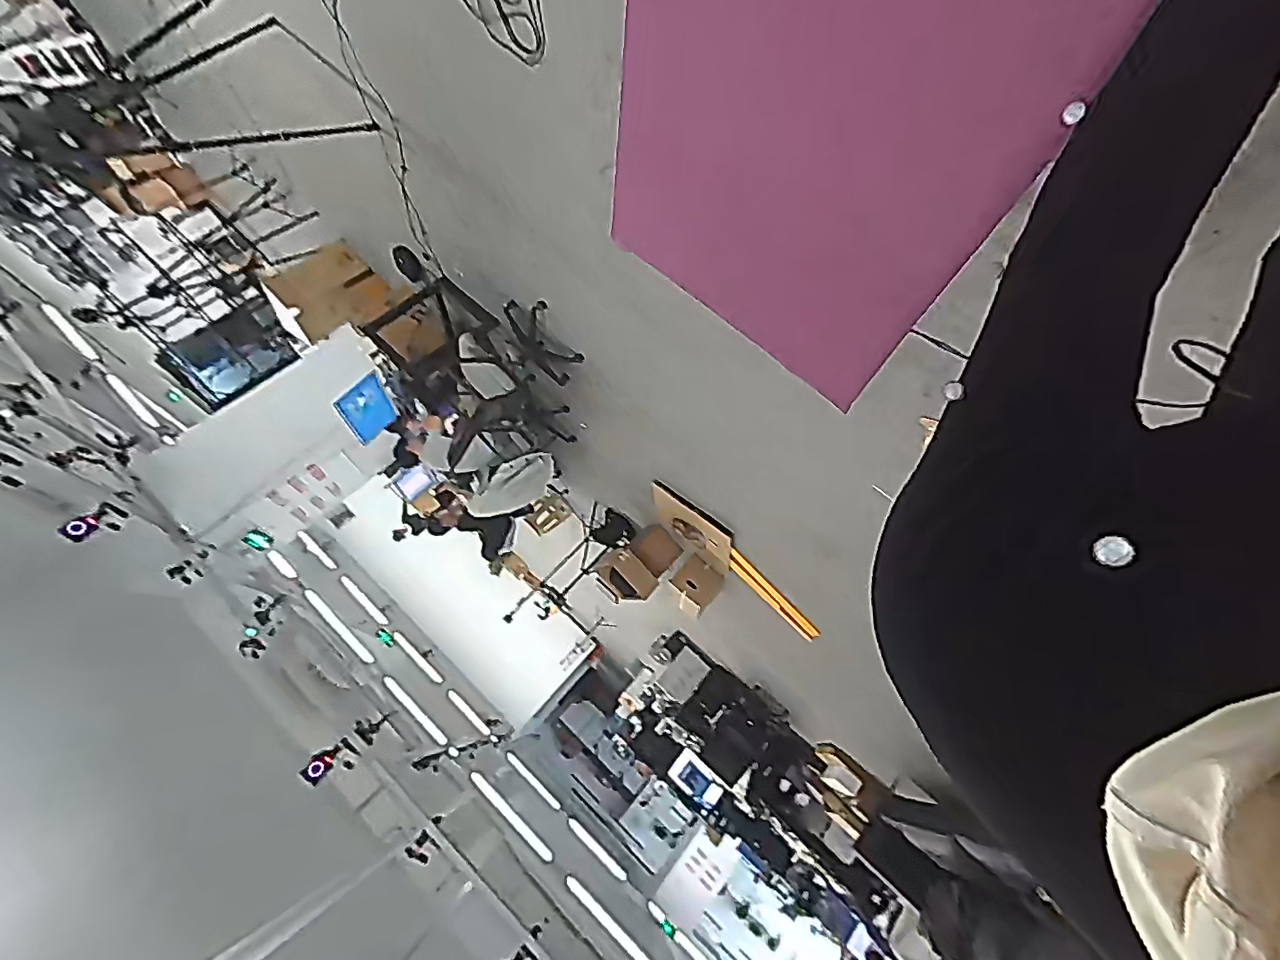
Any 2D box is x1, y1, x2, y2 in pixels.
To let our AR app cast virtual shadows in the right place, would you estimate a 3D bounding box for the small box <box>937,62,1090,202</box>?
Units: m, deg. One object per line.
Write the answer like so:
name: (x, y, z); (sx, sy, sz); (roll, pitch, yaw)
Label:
small box: (0.766, -0.719, 1.112); (0.179, 0.176, 0.168); (38, 157, 19)
